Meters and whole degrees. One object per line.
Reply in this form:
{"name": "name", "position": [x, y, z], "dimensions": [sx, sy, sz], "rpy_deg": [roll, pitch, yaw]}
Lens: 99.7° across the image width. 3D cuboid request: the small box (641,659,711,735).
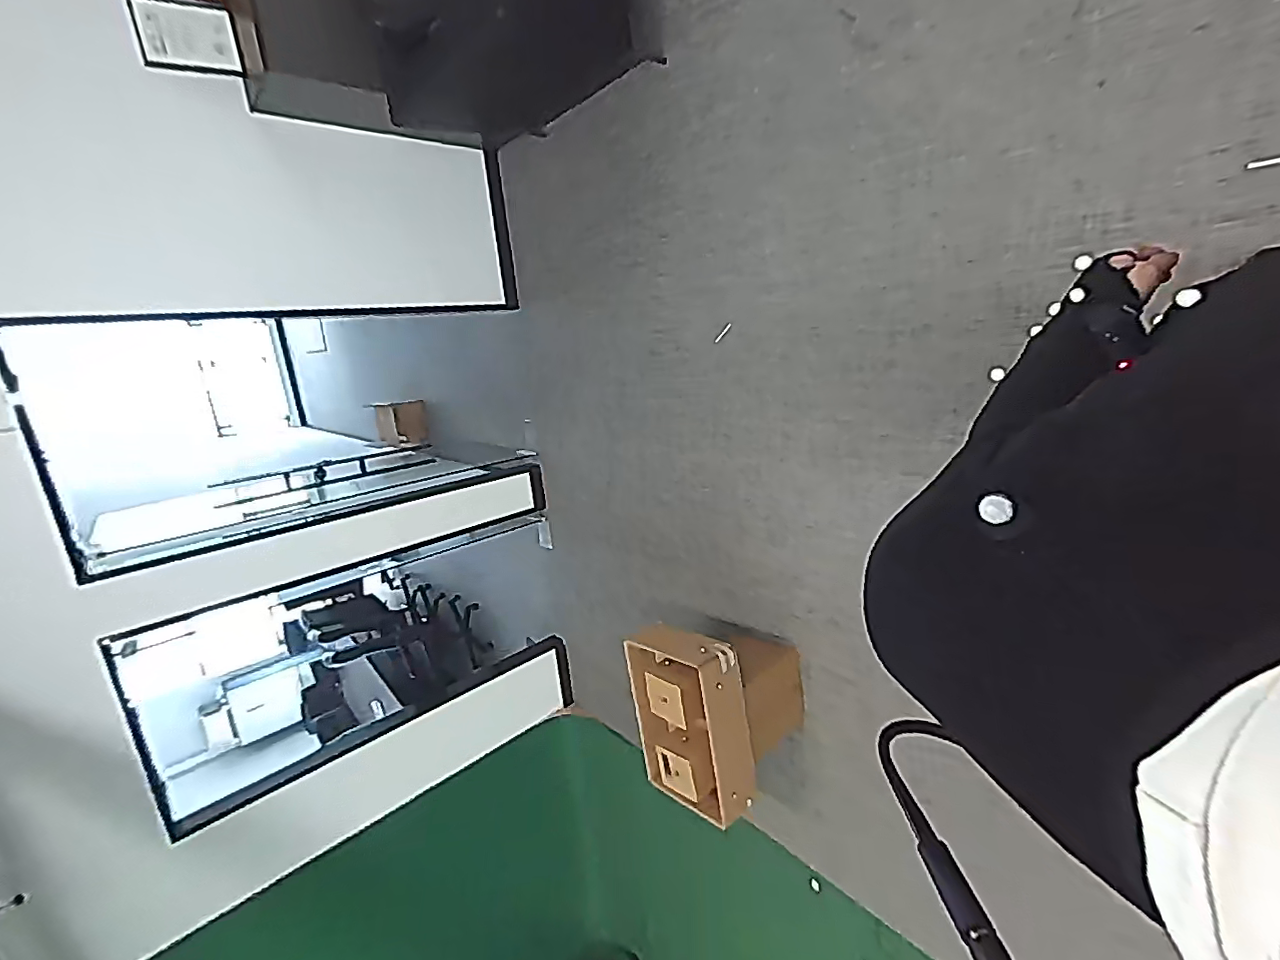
{"name": "small box", "position": [0.130, 0.760, 1.919], "dimensions": [0.179, 0.176, 0.168], "rpy_deg": [4, 106, 48]}
